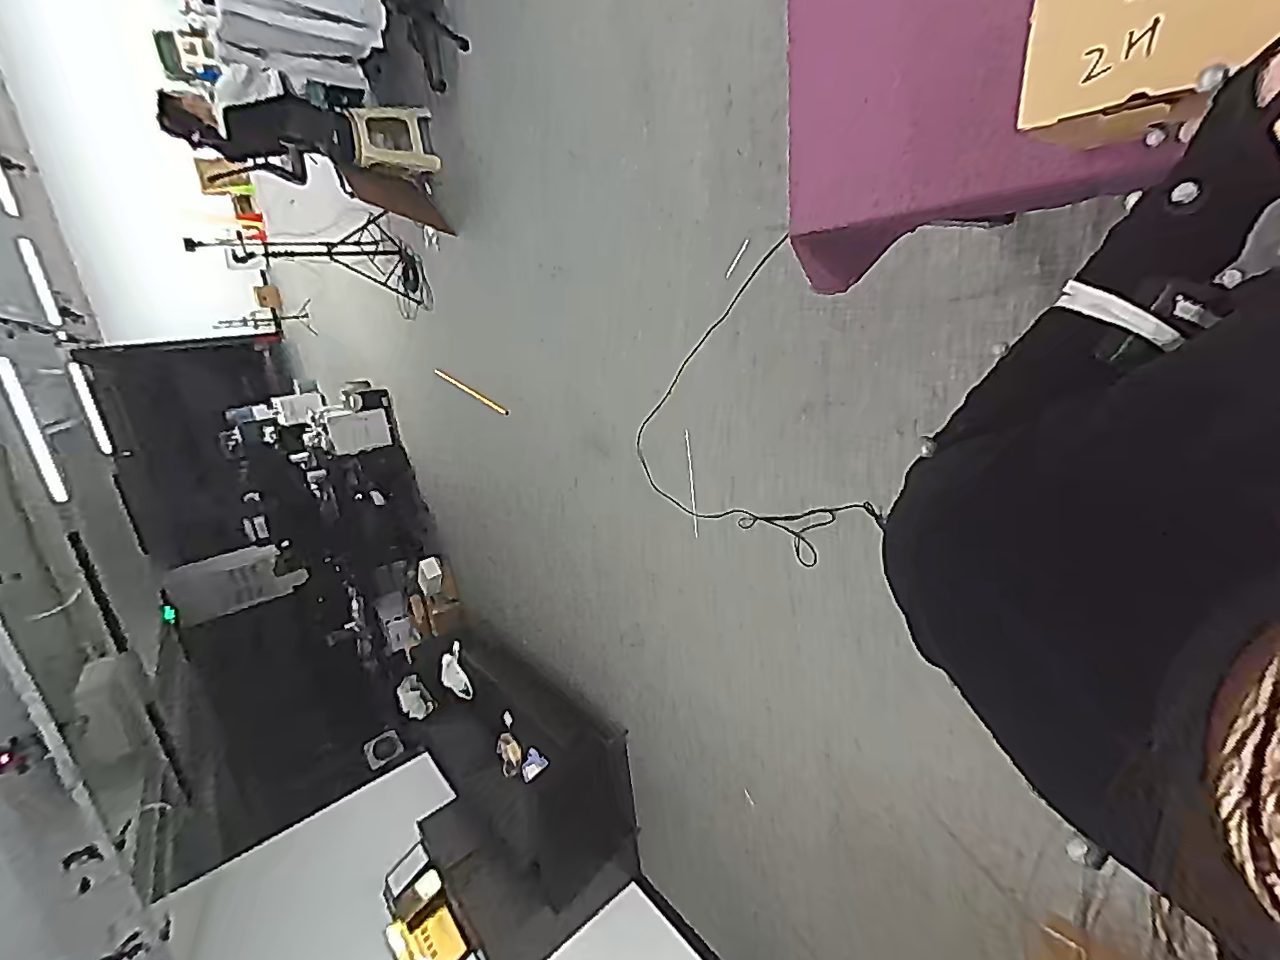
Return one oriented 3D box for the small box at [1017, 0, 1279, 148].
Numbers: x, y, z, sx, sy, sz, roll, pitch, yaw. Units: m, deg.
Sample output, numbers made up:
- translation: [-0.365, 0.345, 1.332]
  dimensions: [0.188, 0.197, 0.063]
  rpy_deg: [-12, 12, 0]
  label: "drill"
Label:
- translation: [0.452, -0.401, 0.450]
  dimensions: [0.168, 0.176, 0.179]
  rpy_deg: [20, 120, 48]
  label: "small box"
